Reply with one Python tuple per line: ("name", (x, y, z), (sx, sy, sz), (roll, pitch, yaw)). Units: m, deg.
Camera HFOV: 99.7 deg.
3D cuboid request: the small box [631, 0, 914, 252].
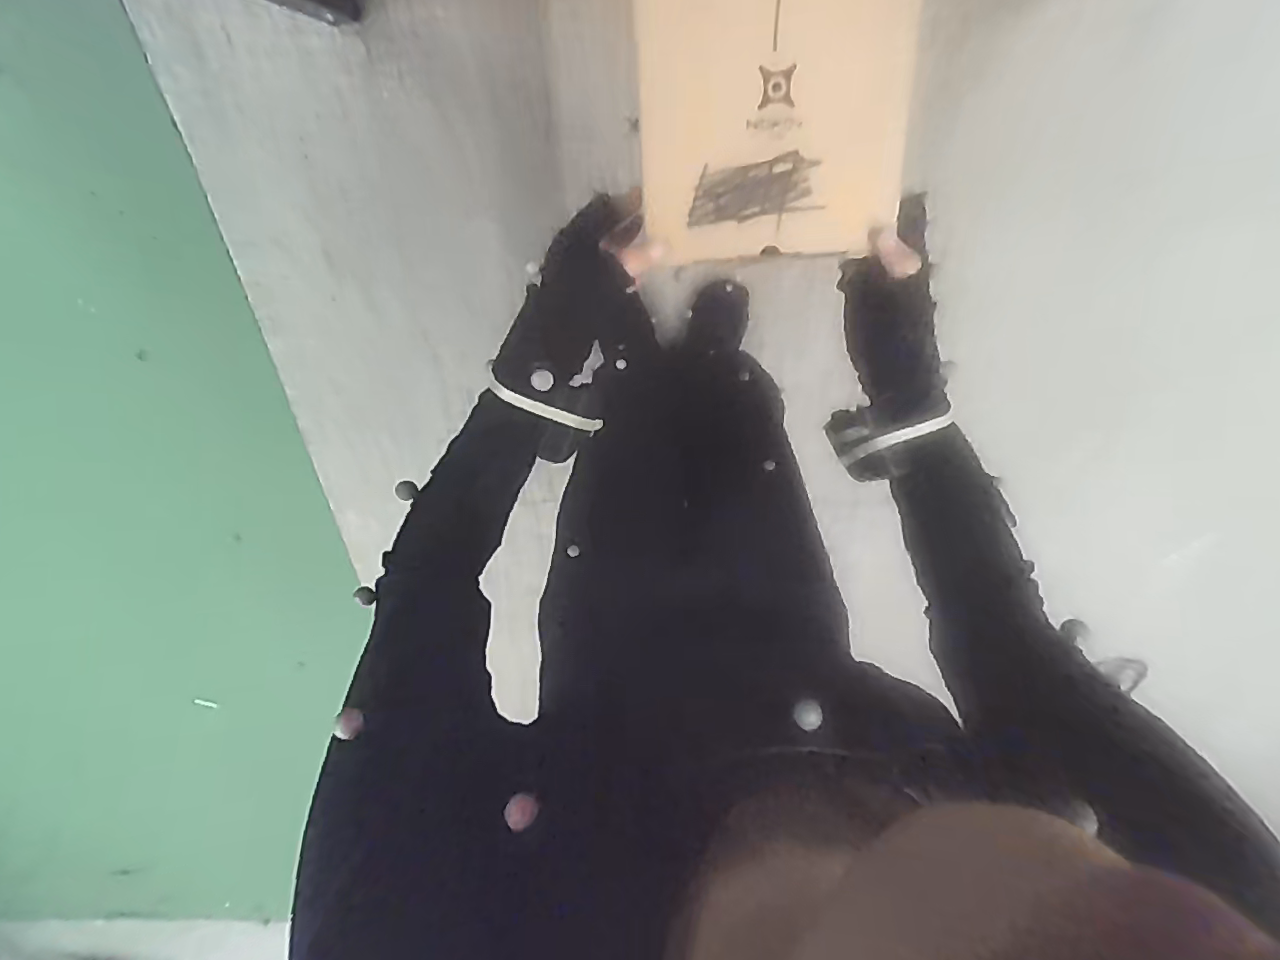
("small box", (0.080, -0.268, 0.405), (0.168, 0.176, 0.179), (-3, 110, 1))
